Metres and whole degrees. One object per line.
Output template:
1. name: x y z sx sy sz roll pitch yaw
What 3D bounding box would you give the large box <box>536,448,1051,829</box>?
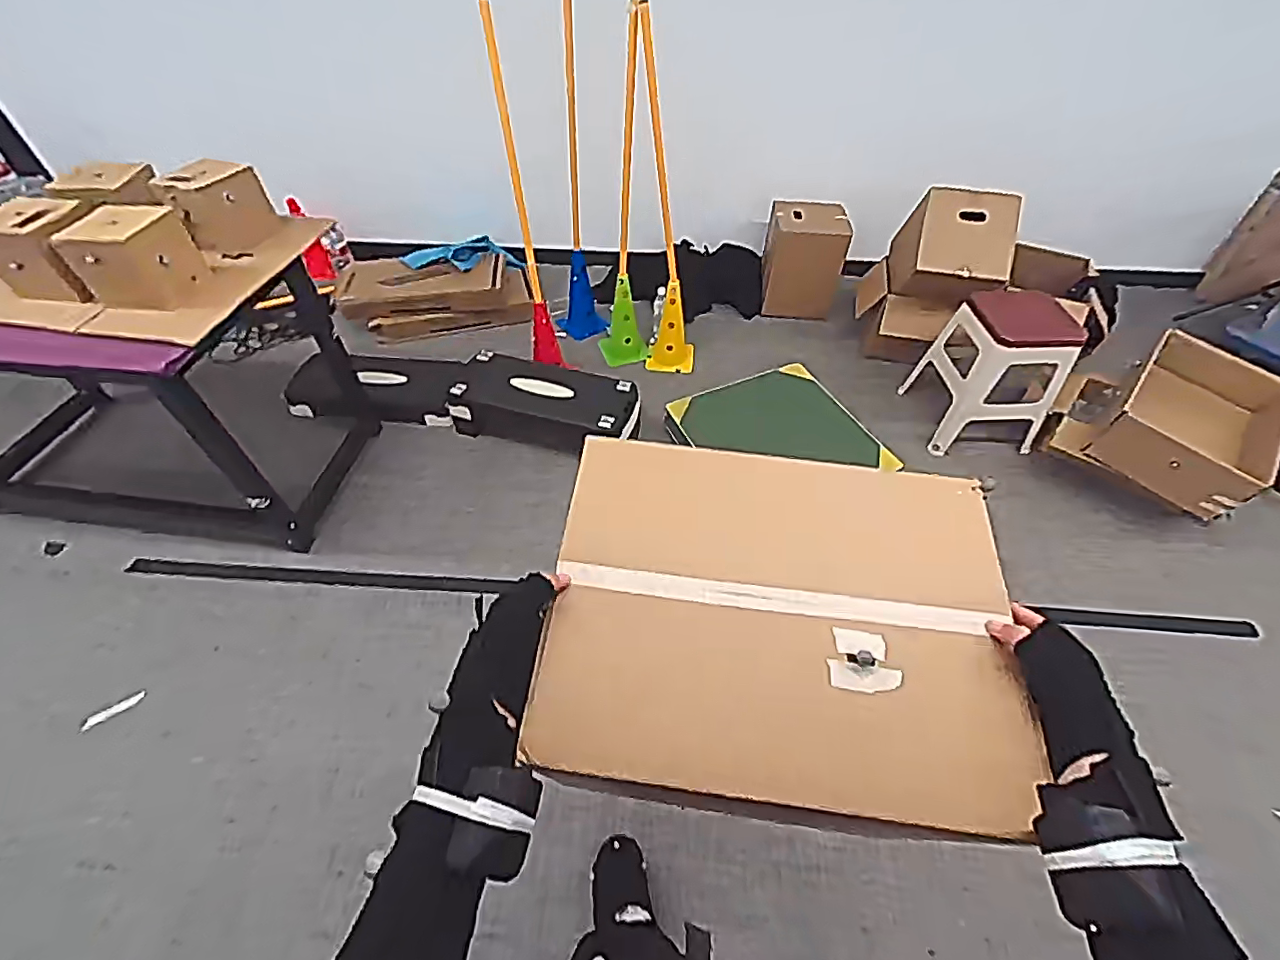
1. large box: 0.125 0.191 0.616 0.408 0.320 0.320 7 59 3
